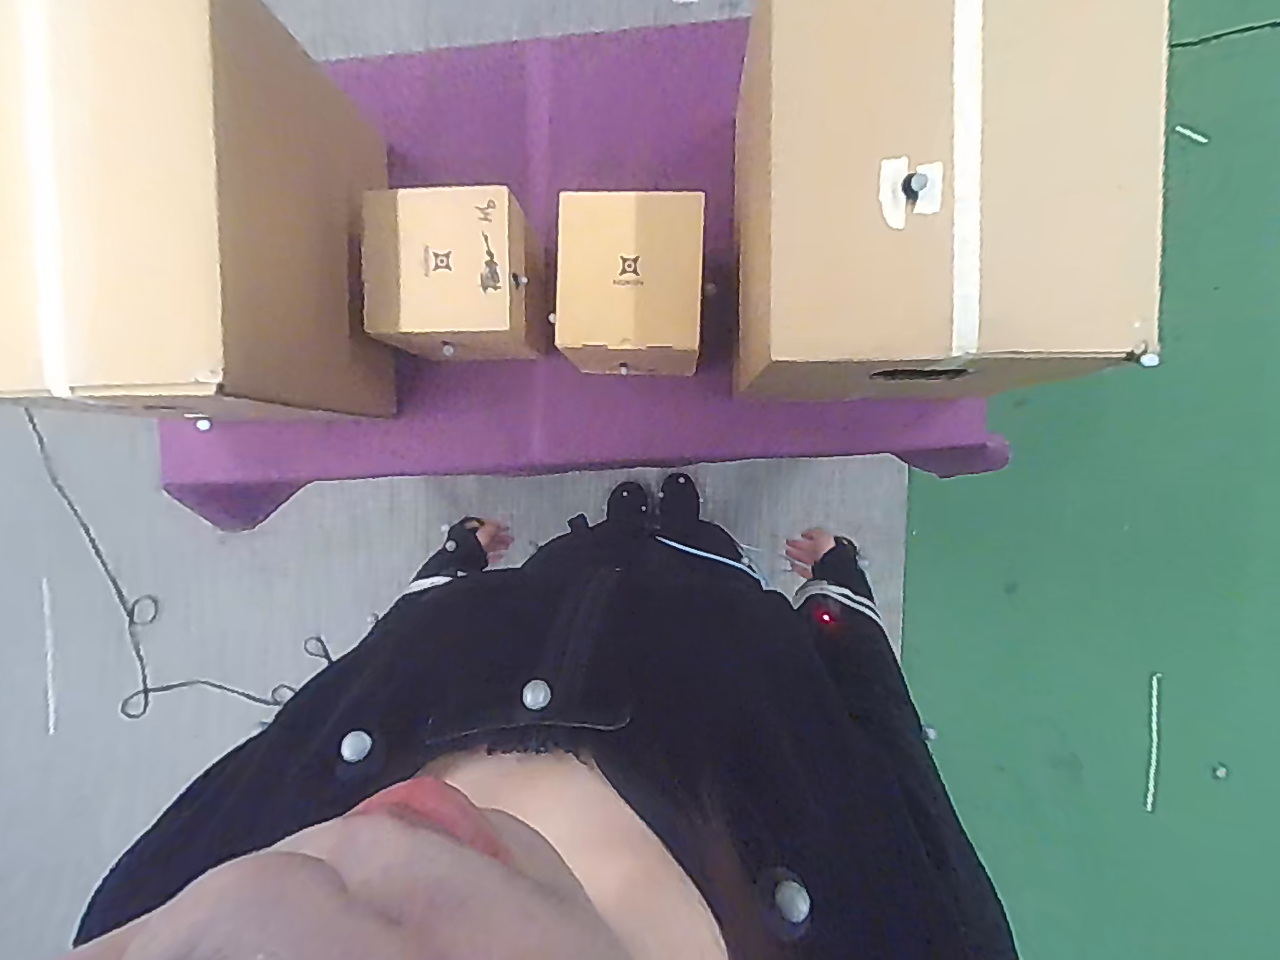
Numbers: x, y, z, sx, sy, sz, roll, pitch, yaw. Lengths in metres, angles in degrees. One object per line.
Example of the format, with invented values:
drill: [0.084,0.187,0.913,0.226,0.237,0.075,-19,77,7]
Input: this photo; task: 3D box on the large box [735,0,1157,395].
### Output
large box: [0.281,-0.312,0.605,0.320,0.320,0.408,1,93,3]
